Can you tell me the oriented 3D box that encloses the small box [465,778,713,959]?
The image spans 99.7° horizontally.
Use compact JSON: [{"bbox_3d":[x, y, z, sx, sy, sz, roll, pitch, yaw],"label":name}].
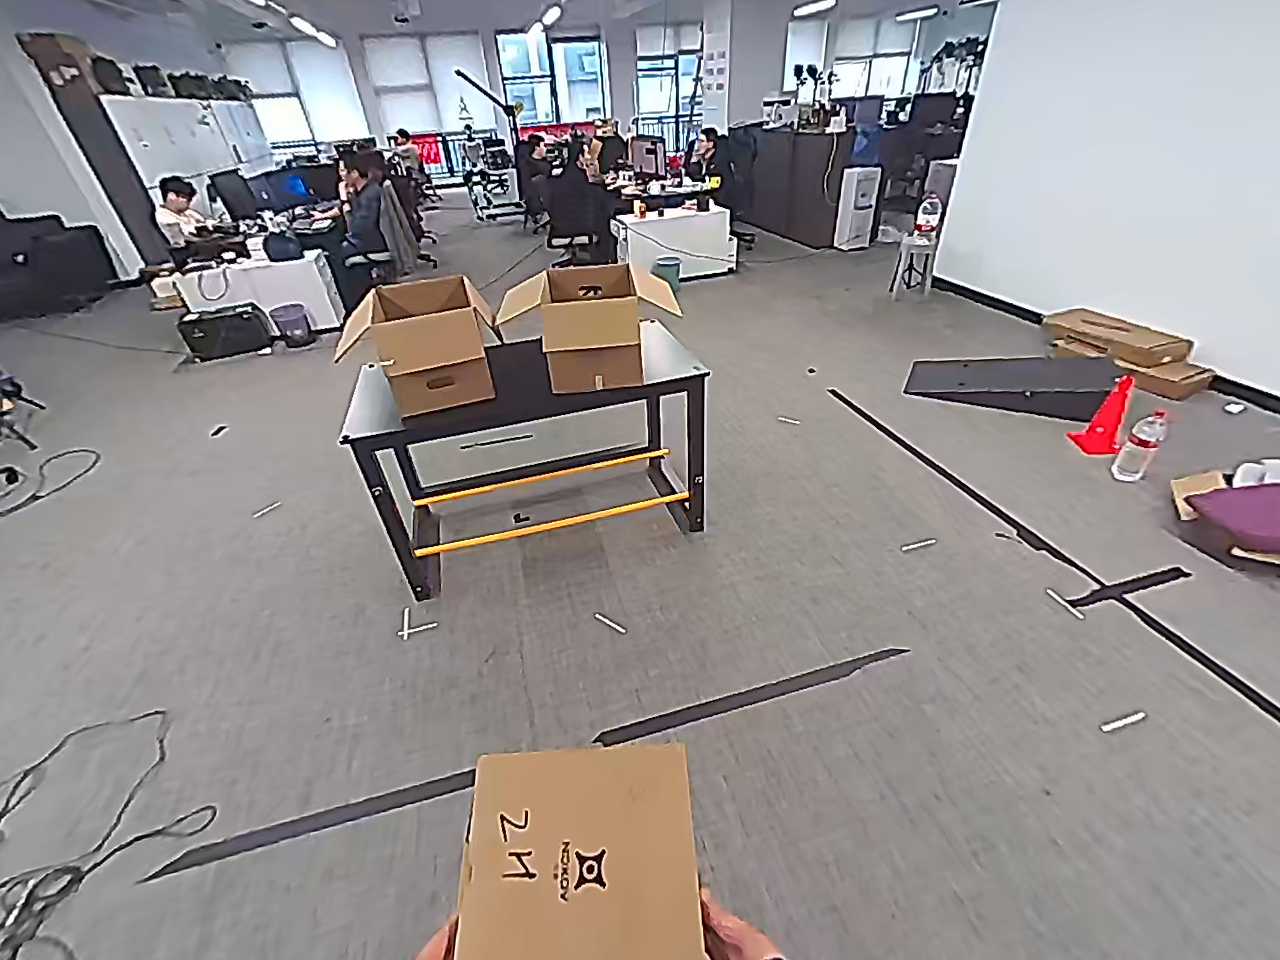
[{"bbox_3d":[-0.036,0.365,0.458,0.179,0.176,0.168,-3,48,0],"label":"small box"}]
